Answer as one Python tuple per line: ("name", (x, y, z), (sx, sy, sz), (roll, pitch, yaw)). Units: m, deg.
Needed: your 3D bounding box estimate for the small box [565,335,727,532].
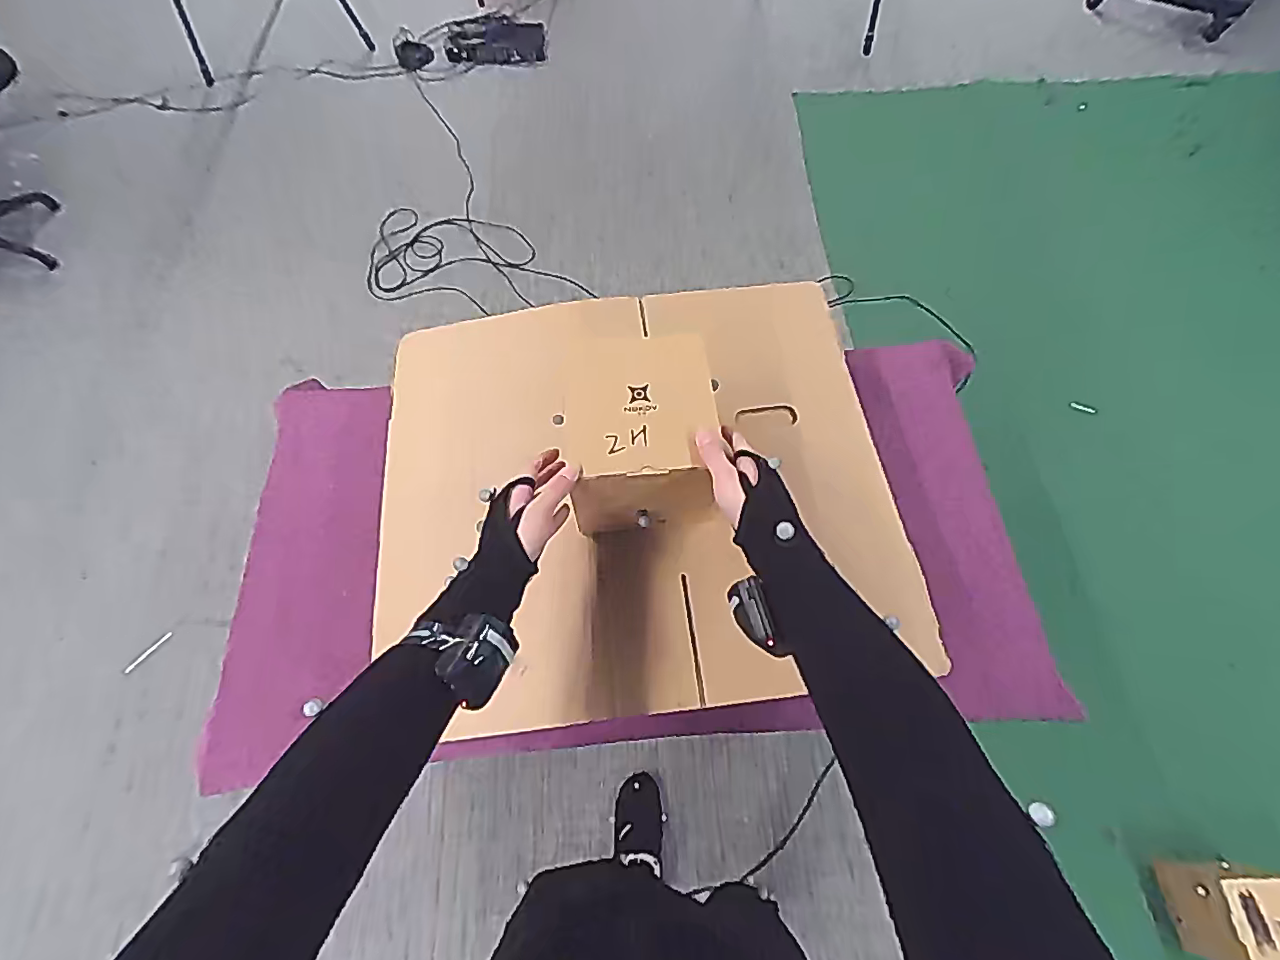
("small box", (-0.001, -0.050, 0.653), (0.168, 0.176, 0.179), (-4, 66, -3))
